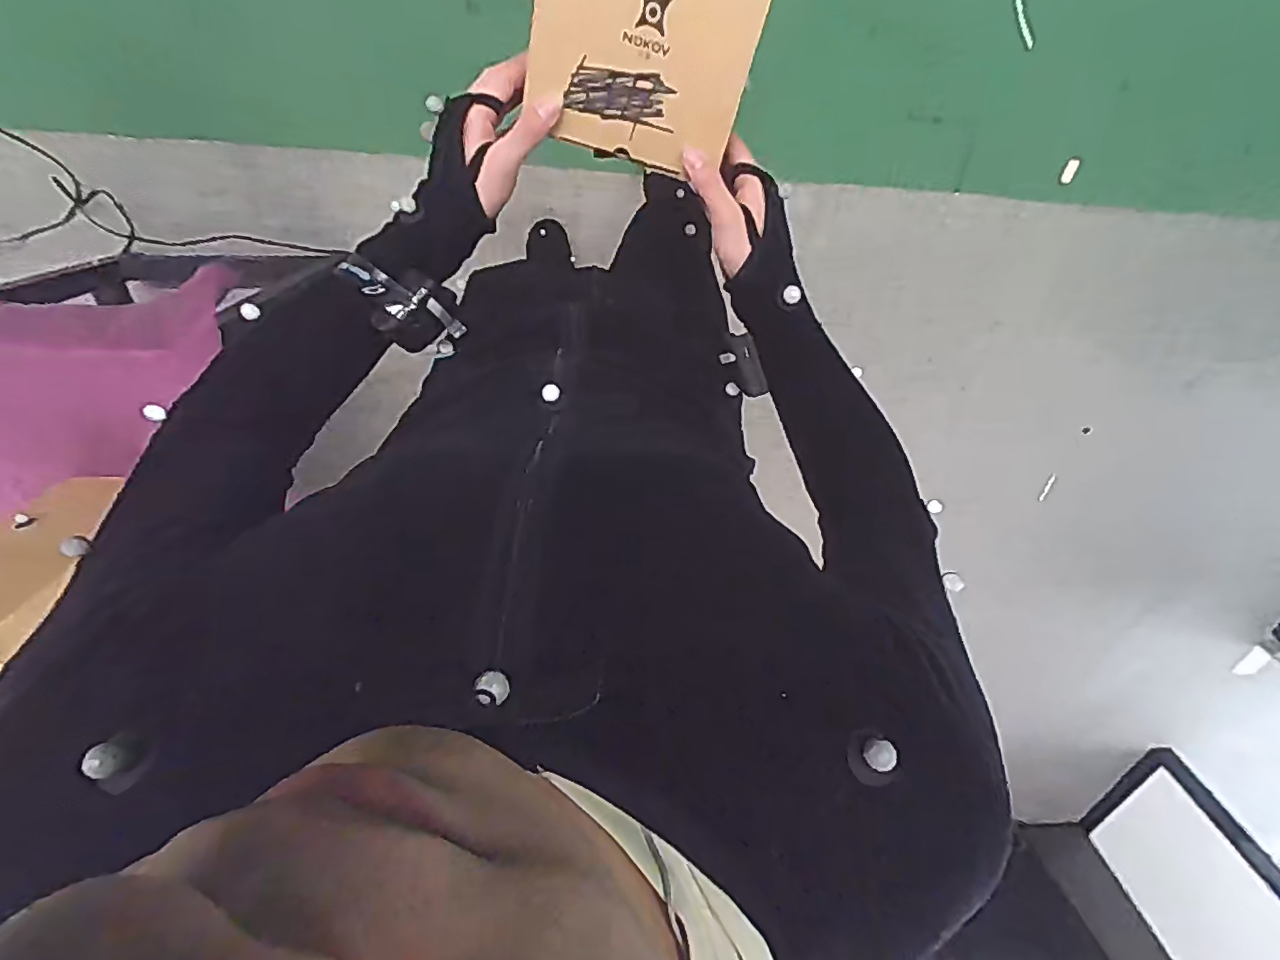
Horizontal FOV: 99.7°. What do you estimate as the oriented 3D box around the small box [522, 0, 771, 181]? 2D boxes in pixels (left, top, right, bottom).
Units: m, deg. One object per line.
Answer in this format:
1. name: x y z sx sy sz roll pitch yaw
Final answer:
1. small box: 0.003 -0.383 0.458 0.168 0.176 0.179 10 126 -12
